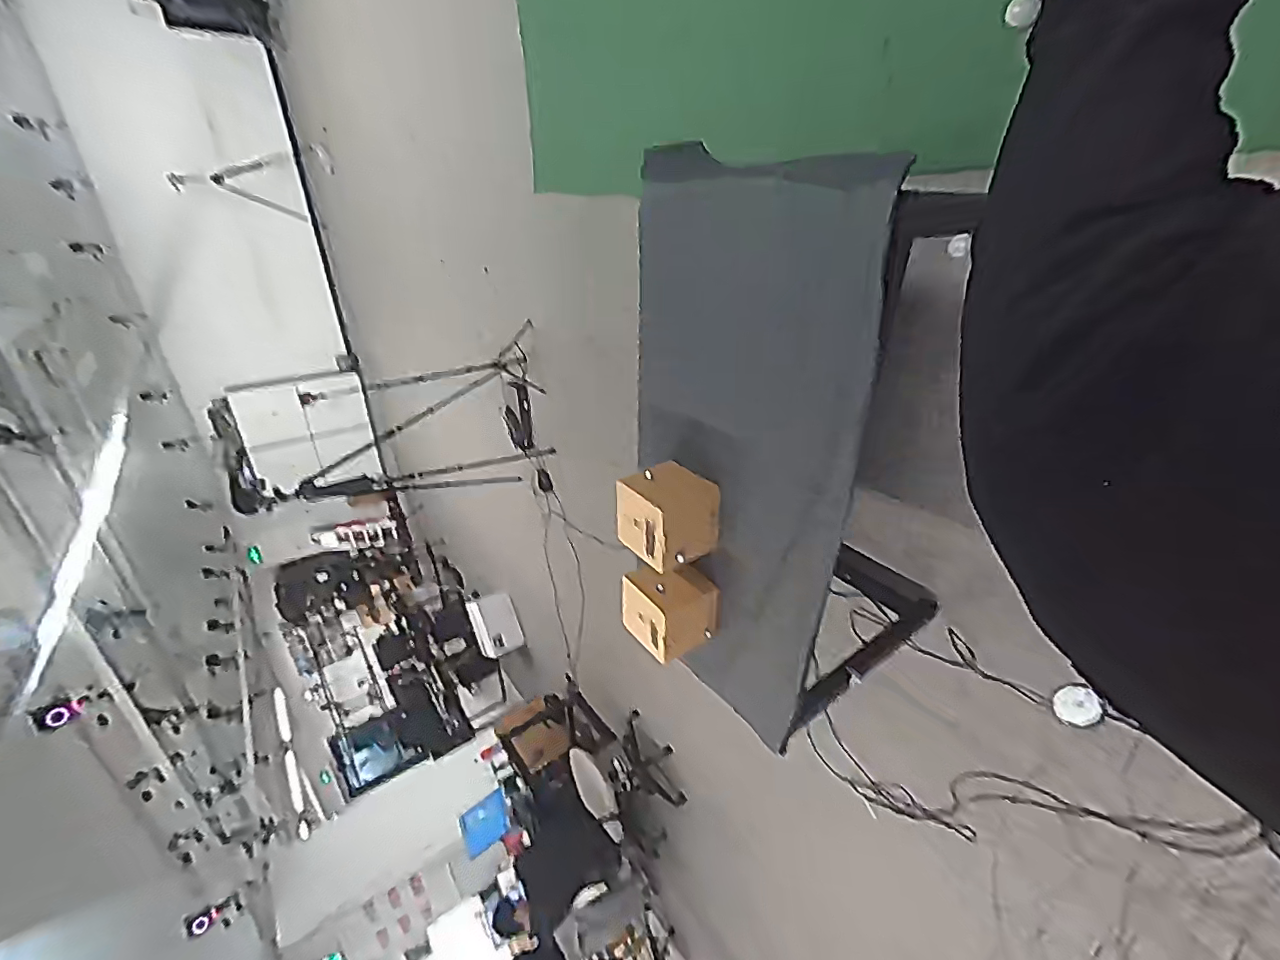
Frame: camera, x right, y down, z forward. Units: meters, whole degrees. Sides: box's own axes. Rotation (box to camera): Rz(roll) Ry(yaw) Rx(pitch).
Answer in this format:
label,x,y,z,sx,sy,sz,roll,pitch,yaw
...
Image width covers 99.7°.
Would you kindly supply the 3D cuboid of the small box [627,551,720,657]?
label,x,y,z,sx,sy,sz,roll,pitch,yaw
small box,0.084,0.306,1.374,0.179,0.176,0.168,35,133,45
